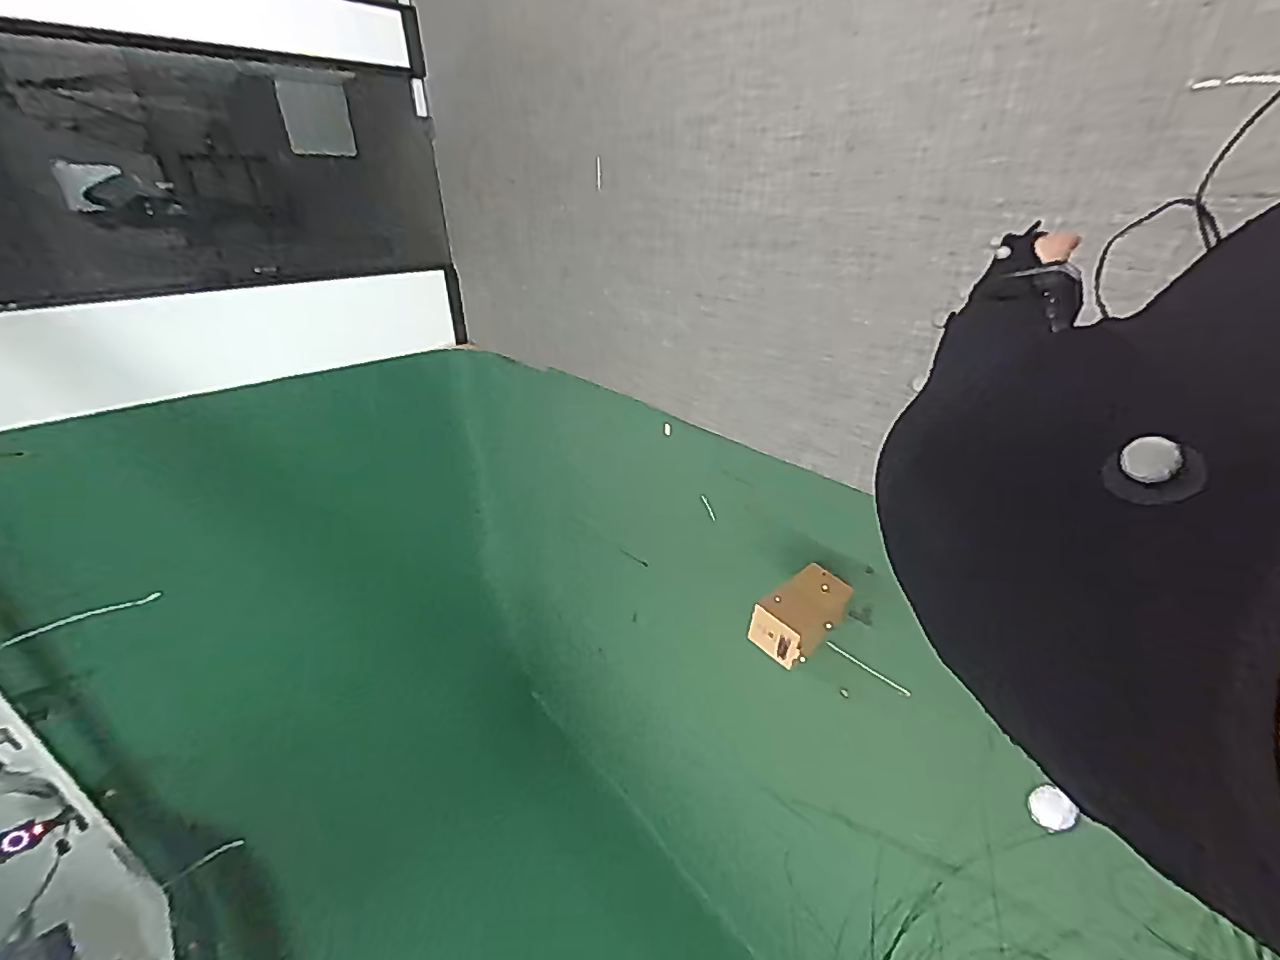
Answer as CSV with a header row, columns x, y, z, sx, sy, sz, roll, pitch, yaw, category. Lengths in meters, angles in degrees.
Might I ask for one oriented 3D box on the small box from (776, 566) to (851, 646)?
x,y,z,sx,sy,sz,roll,pitch,yaw,category
0.604,0.429,1.872,0.168,0.176,0.179,35,133,36,small box
